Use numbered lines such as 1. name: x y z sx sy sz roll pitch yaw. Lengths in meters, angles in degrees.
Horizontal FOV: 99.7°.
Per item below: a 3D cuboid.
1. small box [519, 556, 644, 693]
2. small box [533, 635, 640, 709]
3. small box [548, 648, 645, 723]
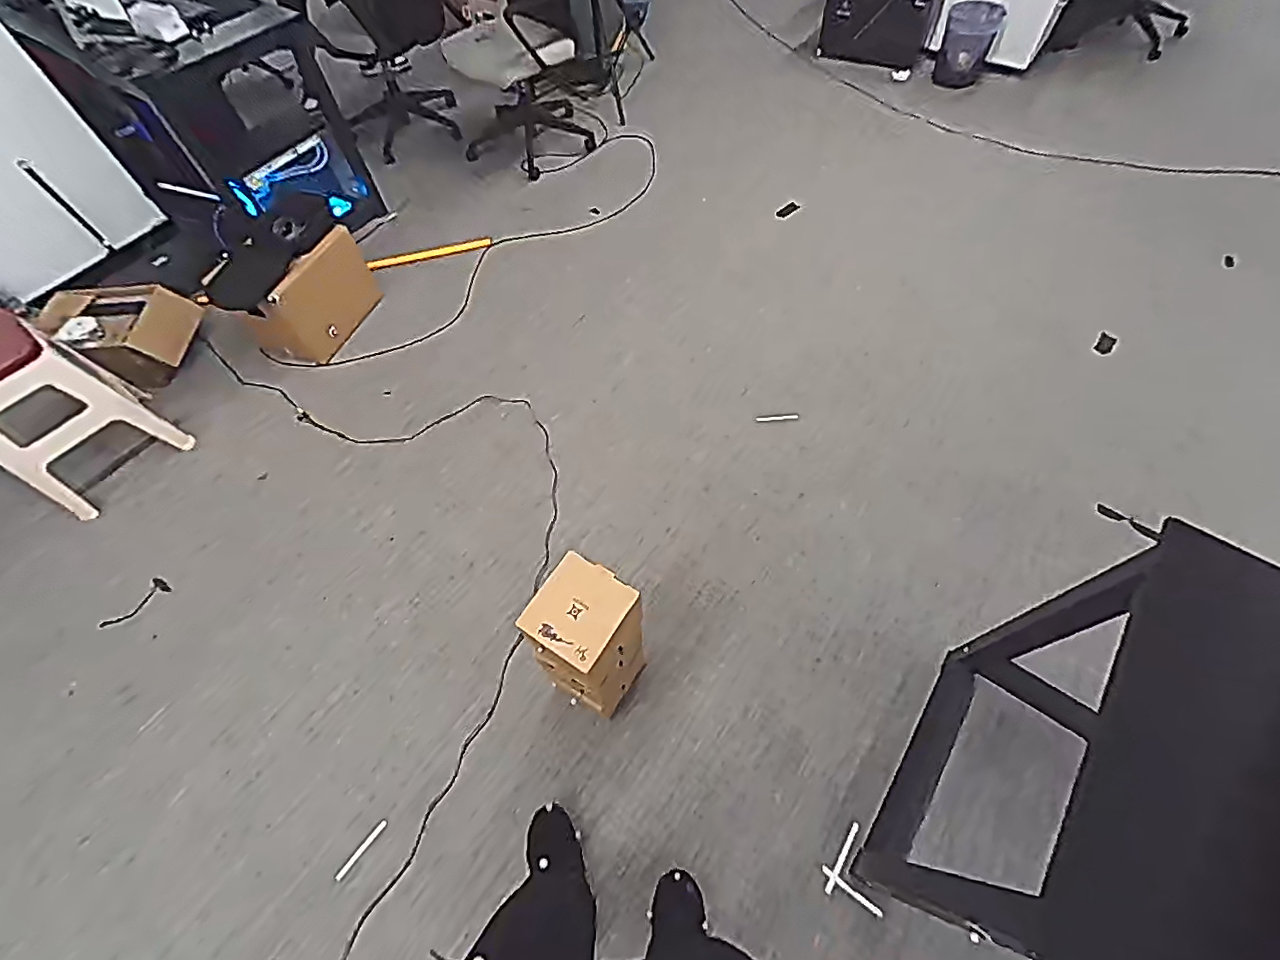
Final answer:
1. small box: -0.106 0.286 1.059 0.168 0.176 0.179 28 63 19
2. small box: -0.106 0.379 1.195 0.168 0.176 0.179 25 62 16
3. small box: -0.100 0.469 1.330 0.168 0.176 0.179 28 65 19
